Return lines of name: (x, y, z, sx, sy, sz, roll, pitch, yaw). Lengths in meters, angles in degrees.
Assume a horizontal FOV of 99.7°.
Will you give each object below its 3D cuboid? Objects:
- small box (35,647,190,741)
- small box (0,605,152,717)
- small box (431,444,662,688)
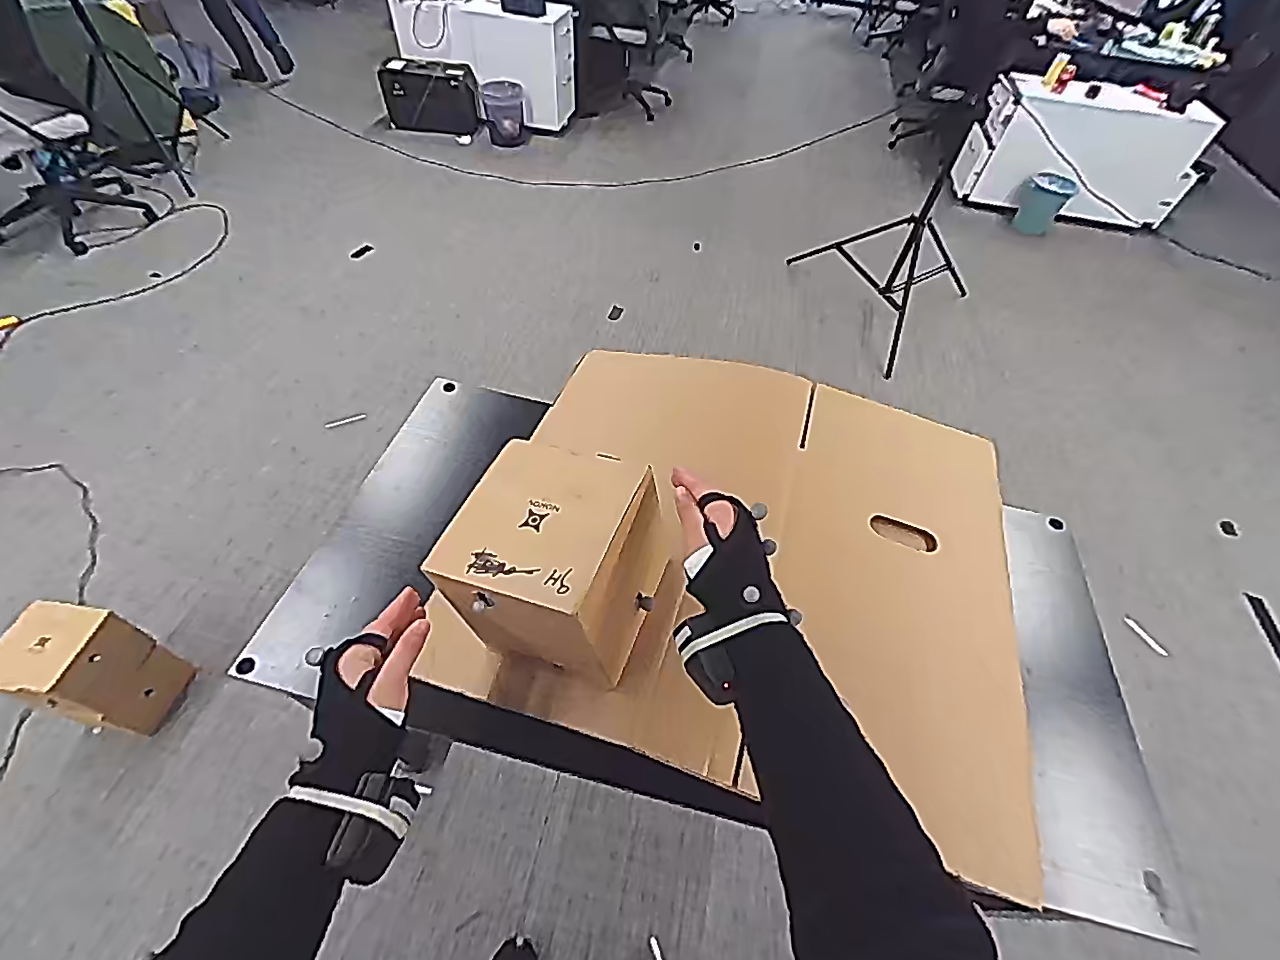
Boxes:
small box: (-1.234, 0.499, 1.289, 0.168, 0.176, 0.179, 9, 52, 2)
small box: (-1.224, 0.395, 1.165, 0.168, 0.176, 0.179, 8, 51, 0)
small box: (-0.081, 0.090, 0.582, 0.168, 0.176, 0.179, 11, 51, 21)
